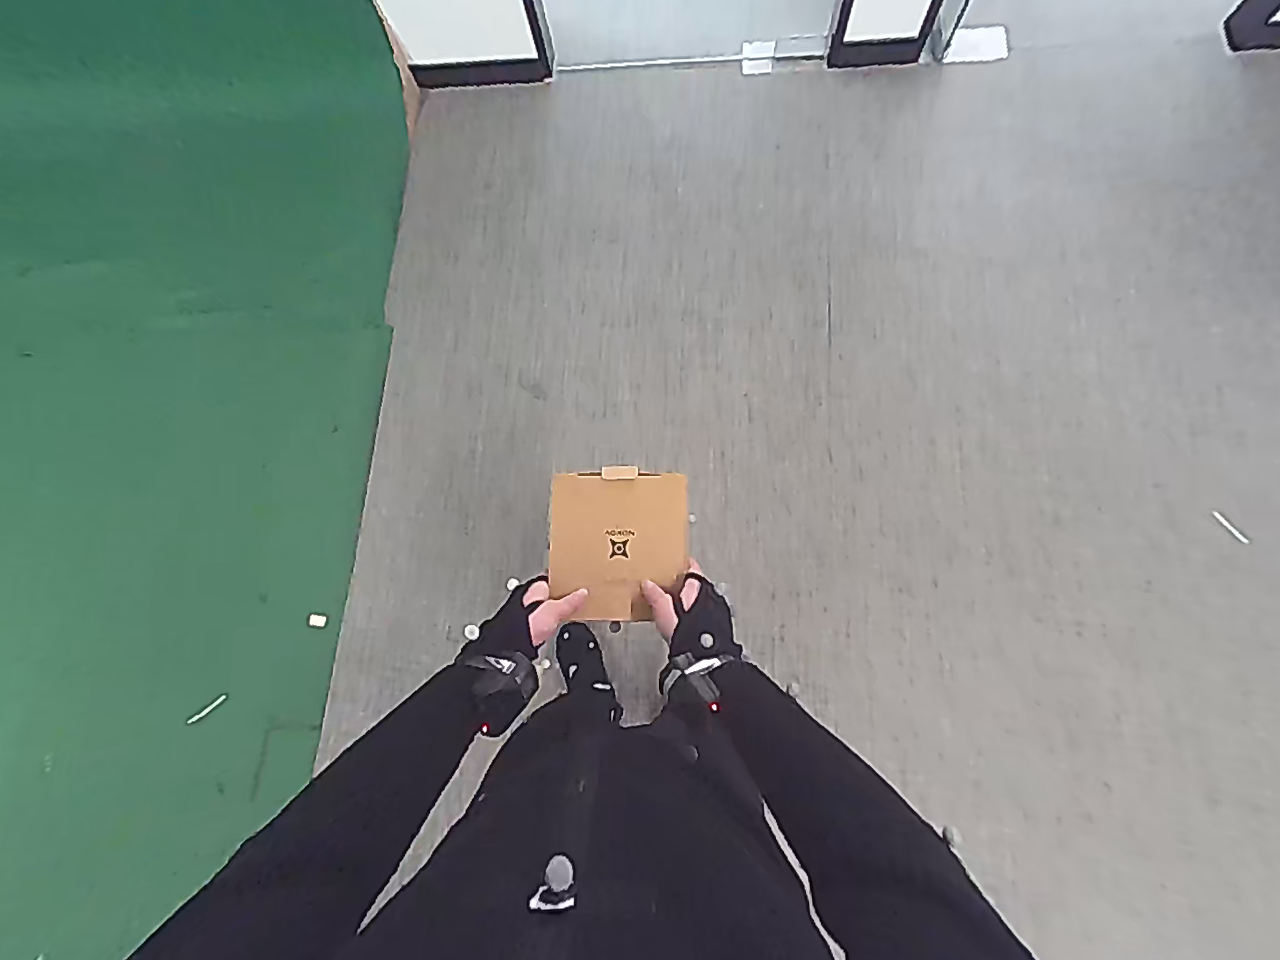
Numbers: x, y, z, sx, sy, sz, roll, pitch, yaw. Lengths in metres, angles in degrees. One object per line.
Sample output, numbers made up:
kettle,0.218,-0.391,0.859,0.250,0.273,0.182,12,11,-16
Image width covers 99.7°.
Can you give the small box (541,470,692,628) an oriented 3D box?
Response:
small box,-0.022,0.095,0.698,0.168,0.176,0.179,2,77,4
